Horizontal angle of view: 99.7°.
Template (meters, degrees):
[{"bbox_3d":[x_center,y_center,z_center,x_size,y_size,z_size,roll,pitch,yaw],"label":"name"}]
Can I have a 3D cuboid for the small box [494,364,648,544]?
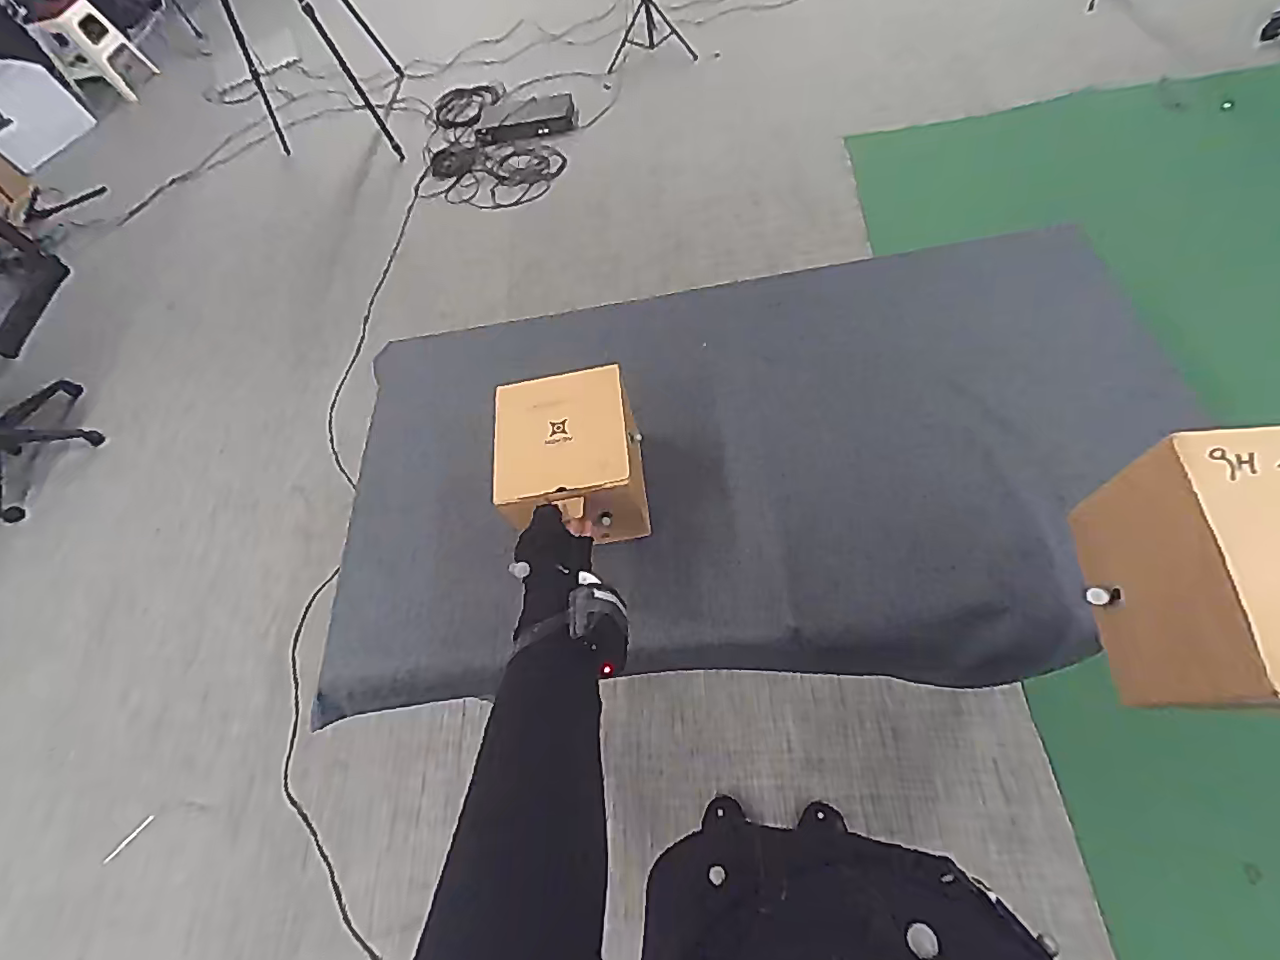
[{"bbox_3d":[-0.086,-0.024,0.729,0.168,0.176,0.179,-9,60,4],"label":"small box"}]
